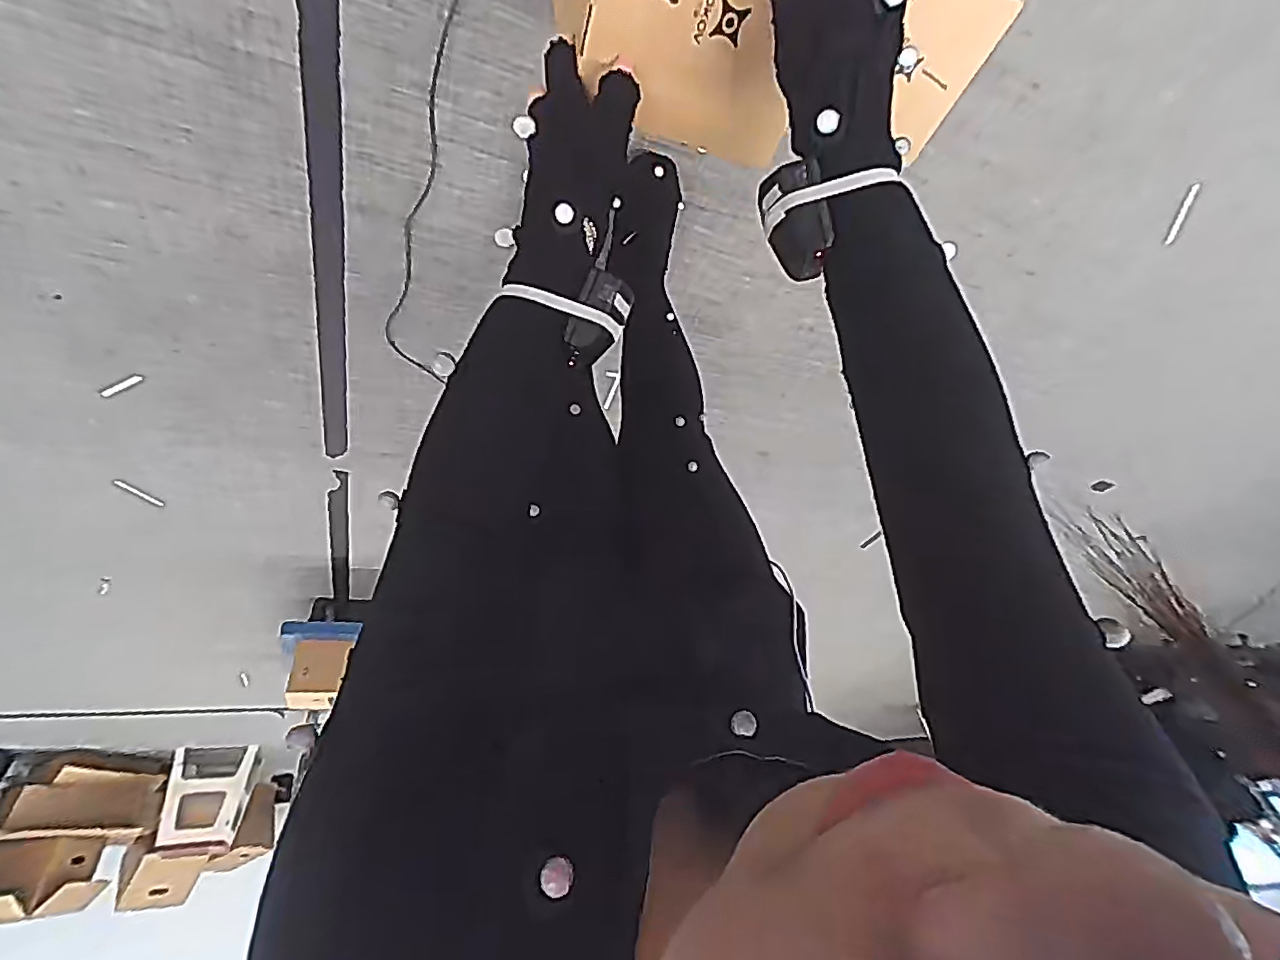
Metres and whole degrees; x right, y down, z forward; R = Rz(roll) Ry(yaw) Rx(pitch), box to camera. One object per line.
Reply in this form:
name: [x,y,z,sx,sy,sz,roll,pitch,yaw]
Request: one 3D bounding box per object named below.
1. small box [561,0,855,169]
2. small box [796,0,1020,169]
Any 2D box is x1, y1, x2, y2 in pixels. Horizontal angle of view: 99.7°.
small box: [0.045,-0.386,0.419,0.179,0.176,0.168,6,143,-22]
small box: [0.259,-0.495,0.609,0.179,0.176,0.168,7,140,-24]
